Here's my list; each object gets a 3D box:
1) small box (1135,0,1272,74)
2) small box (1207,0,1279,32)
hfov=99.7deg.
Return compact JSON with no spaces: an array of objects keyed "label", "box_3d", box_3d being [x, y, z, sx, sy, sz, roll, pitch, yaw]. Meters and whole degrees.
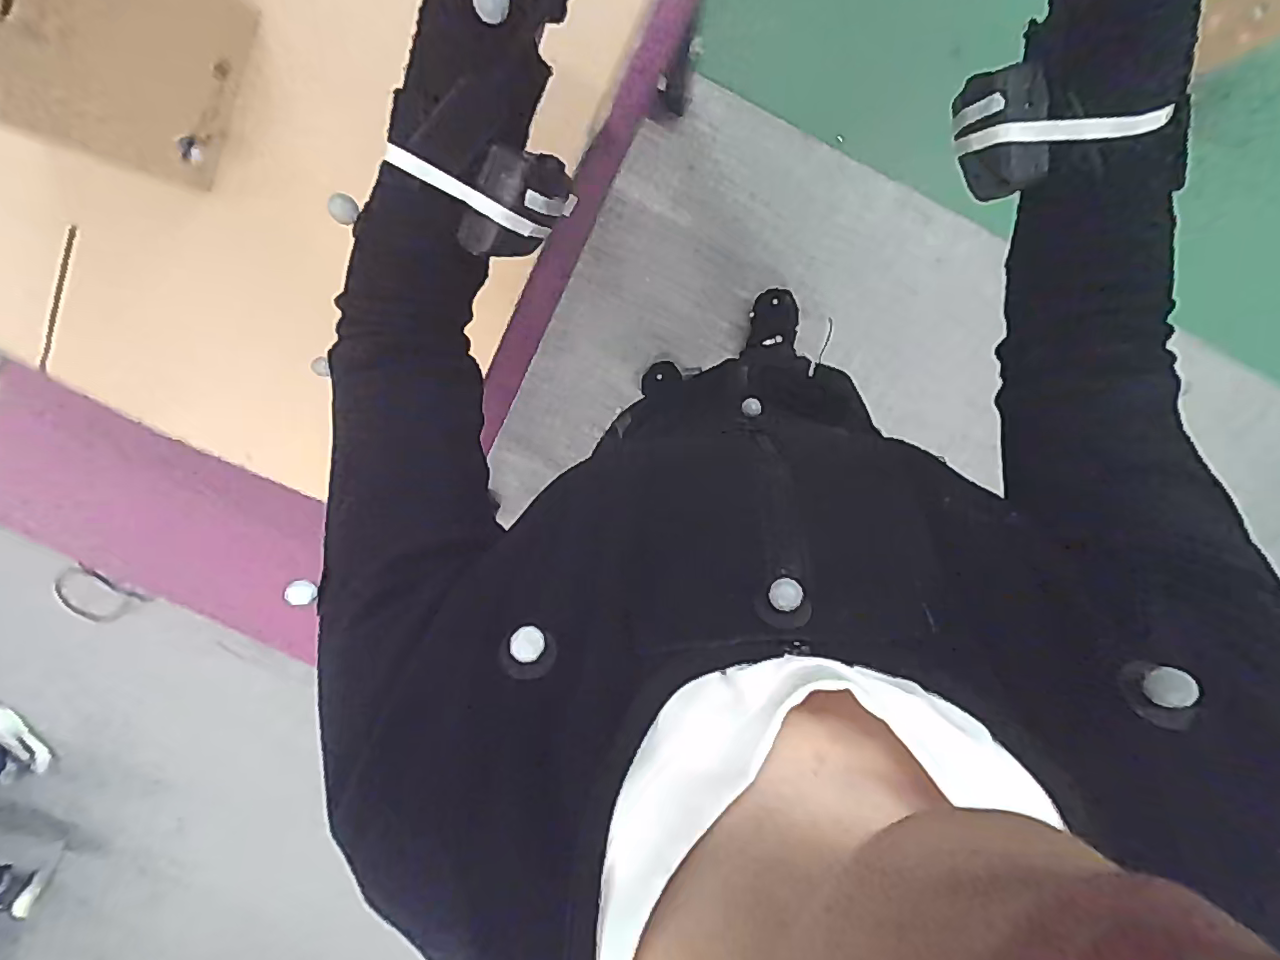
[{"label":"small box","box_3d":[1.198,-0.999,1.115,0.168,0.176,0.179,24,104,-4]},{"label":"small box","box_3d":[1.191,-0.960,0.957,0.168,0.176,0.179,22,105,-4]}]
